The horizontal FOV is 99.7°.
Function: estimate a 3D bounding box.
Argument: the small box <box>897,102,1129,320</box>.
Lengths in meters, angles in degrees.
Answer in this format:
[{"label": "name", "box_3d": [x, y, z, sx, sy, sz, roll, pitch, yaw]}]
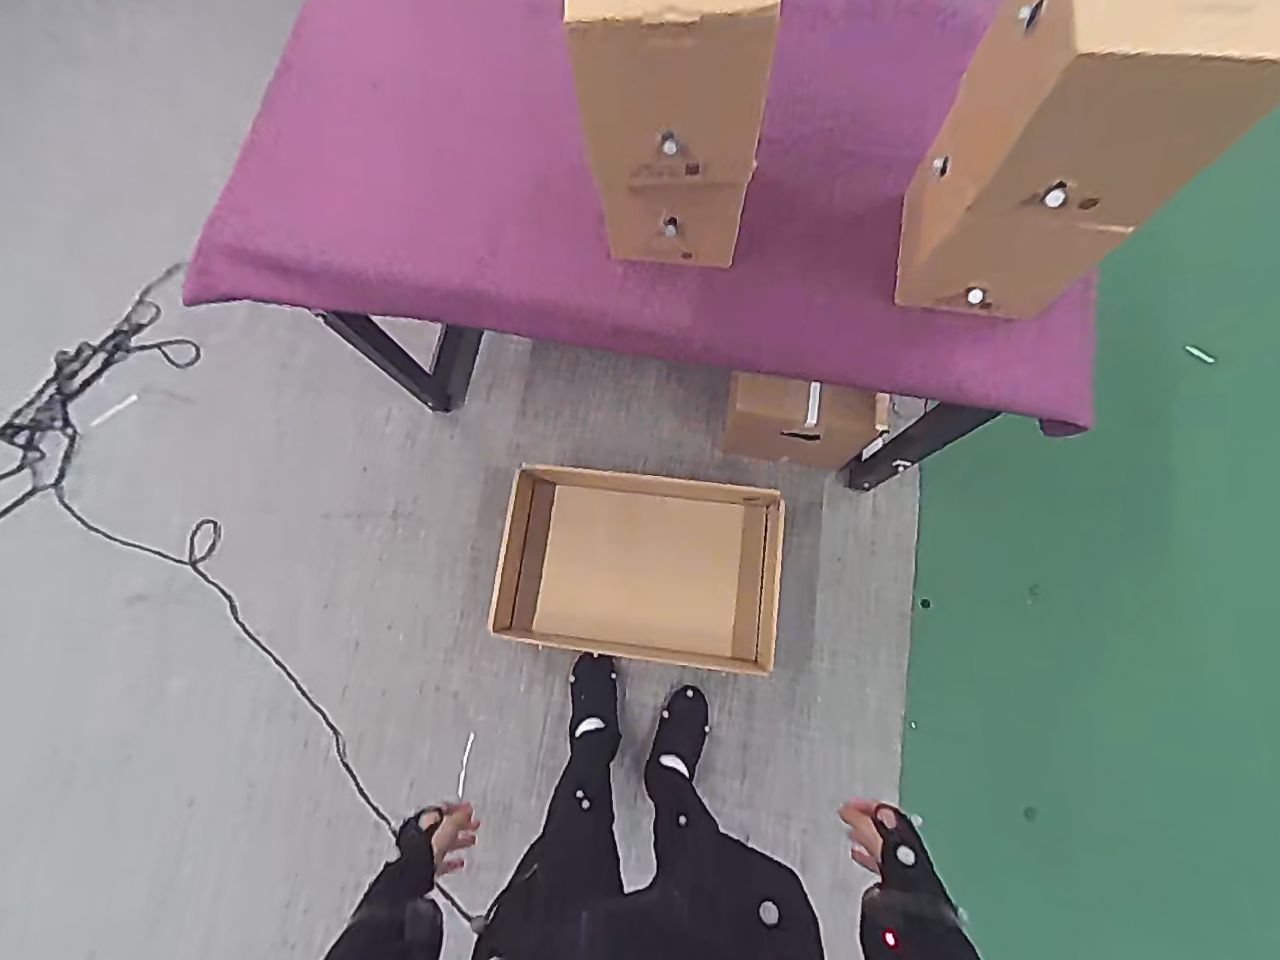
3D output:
[{"label": "small box", "box_3d": [0.421, -0.318, 0.636, 0.168, 0.176, 0.179, 9, 77, 6]}]

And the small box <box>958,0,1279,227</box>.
[{"label": "small box", "box_3d": [0.406, -0.361, 0.480, 0.168, 0.176, 0.179, 7, 76, 6]}]

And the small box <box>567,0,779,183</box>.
[{"label": "small box", "box_3d": [0.030, -0.416, 0.510, 0.168, 0.176, 0.179, 0, 76, 4]}]

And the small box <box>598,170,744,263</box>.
[{"label": "small box", "box_3d": [0.049, -0.398, 0.676, 0.168, 0.176, 0.179, 6, 77, 4]}]
